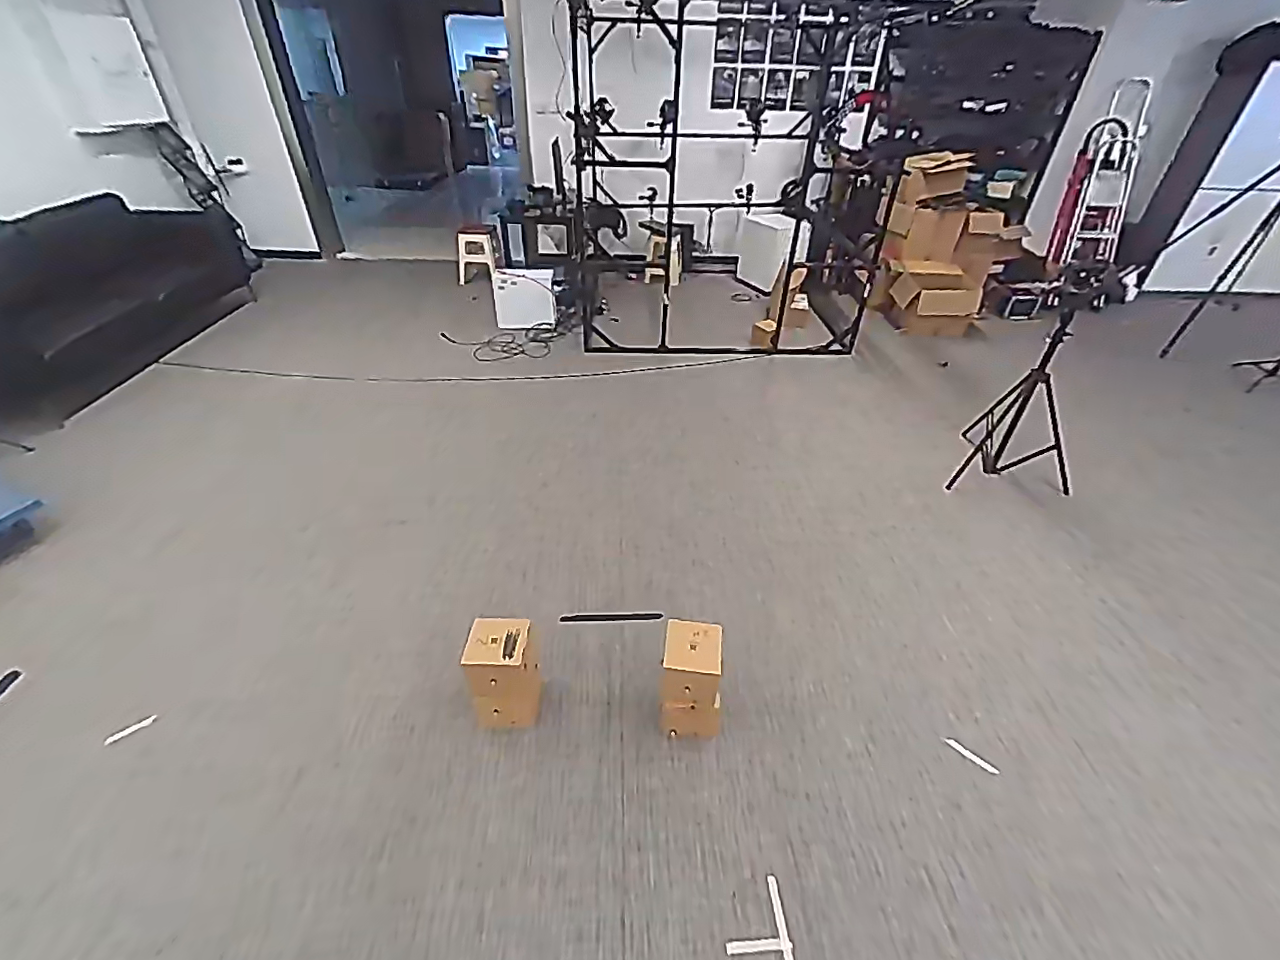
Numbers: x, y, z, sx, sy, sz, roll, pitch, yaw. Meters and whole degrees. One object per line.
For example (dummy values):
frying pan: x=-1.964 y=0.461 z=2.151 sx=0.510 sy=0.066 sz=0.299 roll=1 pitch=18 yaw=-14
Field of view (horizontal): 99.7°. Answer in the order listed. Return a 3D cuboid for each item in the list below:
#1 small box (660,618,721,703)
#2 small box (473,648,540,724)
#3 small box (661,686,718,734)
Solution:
small box: x=0.152 y=0.545 z=1.629 sx=0.168 sy=0.176 sz=0.179 roll=7 pitch=37 yaw=5
small box: x=-0.419 y=0.662 z=1.731 sx=0.168 sy=0.176 sz=0.179 roll=1 pitch=36 yaw=0
small box: x=0.154 y=0.684 z=1.719 sx=0.168 sy=0.176 sz=0.179 roll=3 pitch=36 yaw=0
